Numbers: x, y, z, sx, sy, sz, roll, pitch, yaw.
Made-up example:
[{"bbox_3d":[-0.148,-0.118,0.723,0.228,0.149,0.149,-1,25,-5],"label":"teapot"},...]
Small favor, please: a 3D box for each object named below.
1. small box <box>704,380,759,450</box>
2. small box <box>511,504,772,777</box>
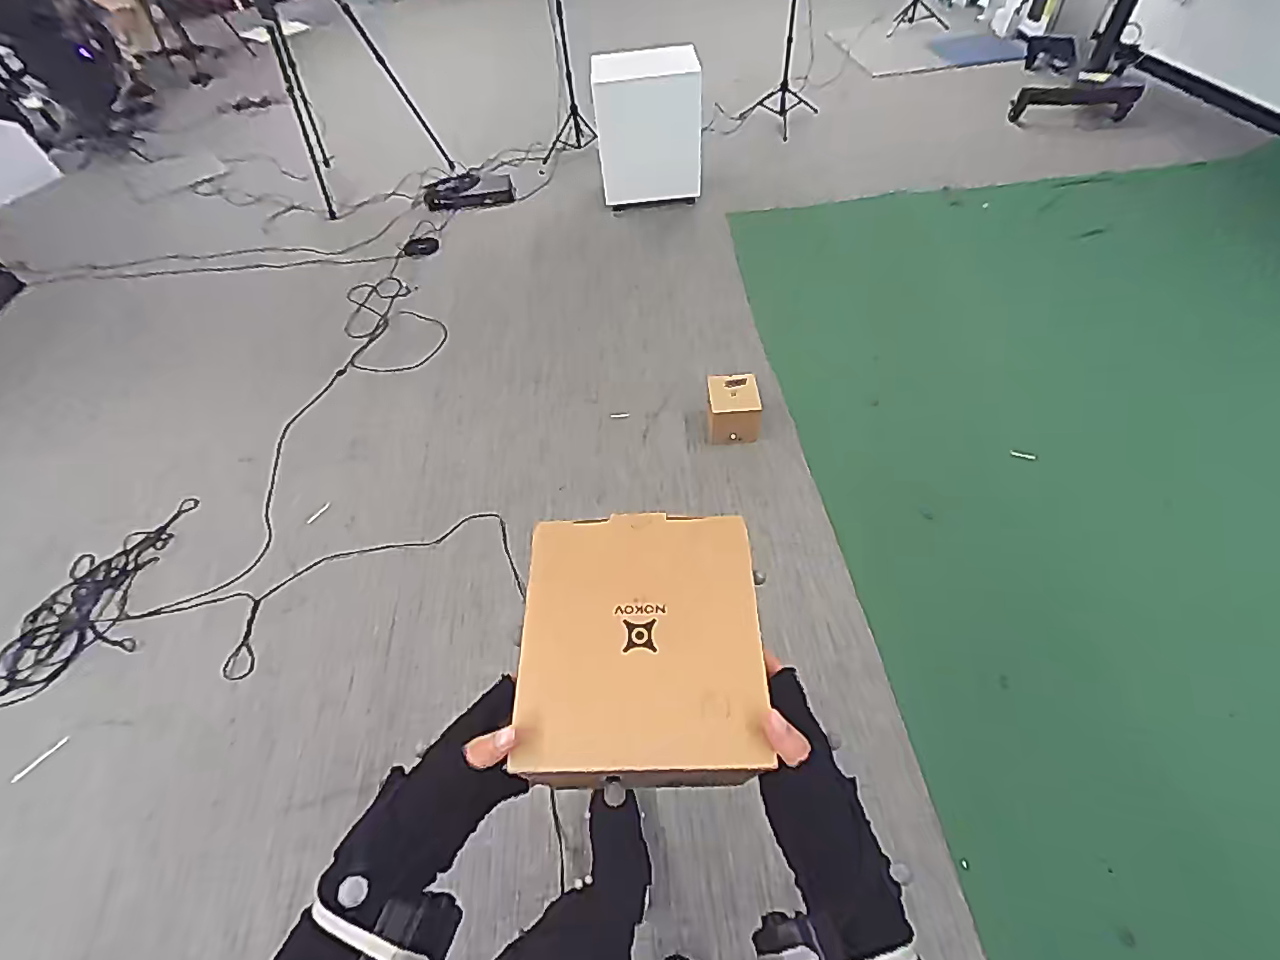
[{"bbox_3d":[0.315,-0.226,1.891,0.168,0.176,0.179,-4,53,2],"label":"small box"},{"bbox_3d":[0.004,0.139,0.443,0.168,0.176,0.179,-2,55,1],"label":"small box"}]
